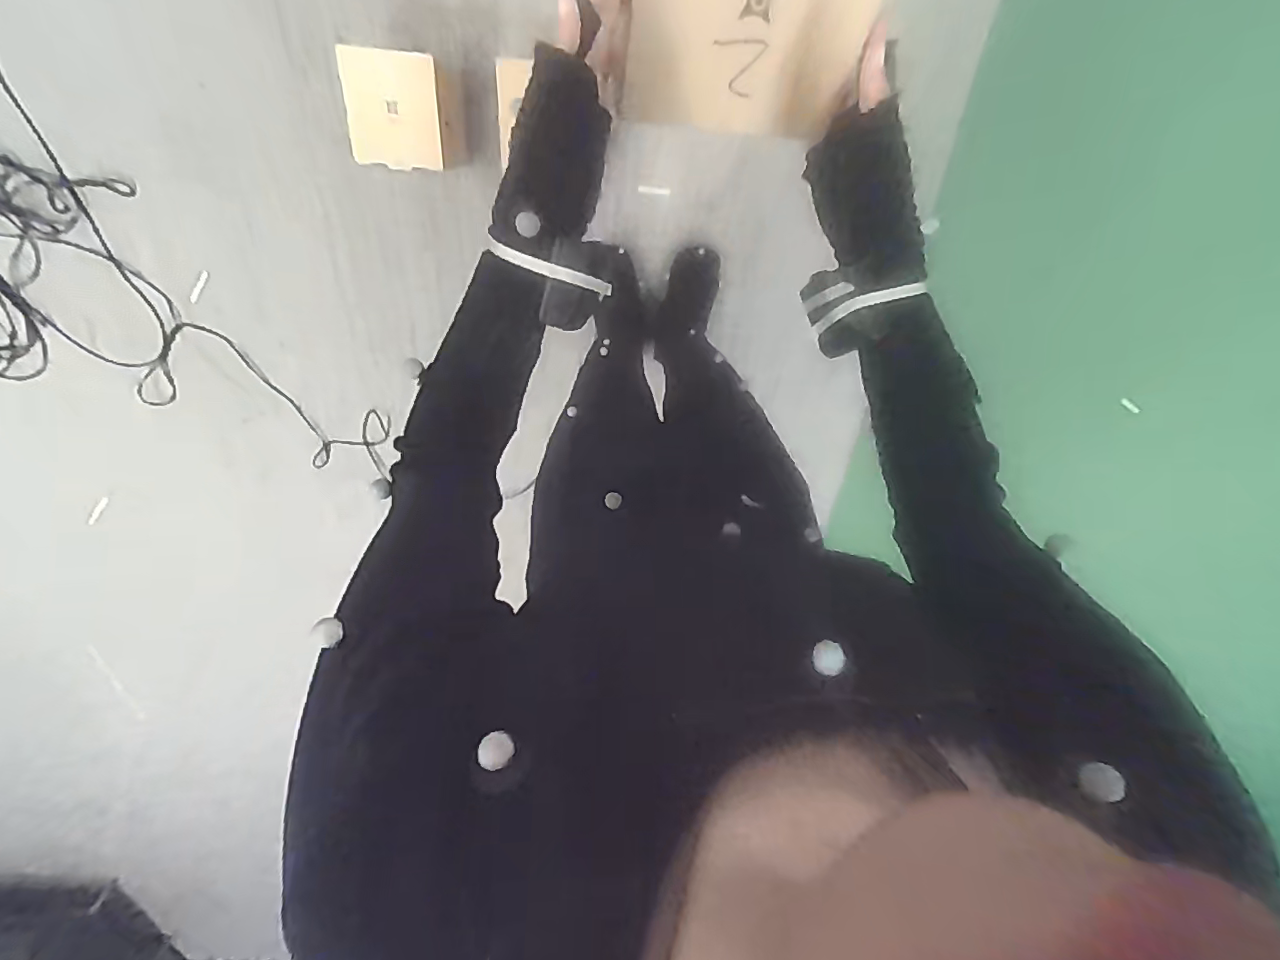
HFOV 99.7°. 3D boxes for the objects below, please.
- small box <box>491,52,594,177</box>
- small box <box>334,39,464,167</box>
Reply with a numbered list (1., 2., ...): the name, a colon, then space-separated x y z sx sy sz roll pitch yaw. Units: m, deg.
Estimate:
1. small box: -0.178 -0.688 1.031 0.168 0.176 0.179 4 121 -2
2. small box: -0.444 -0.705 1.026 0.168 0.176 0.179 5 122 -2
